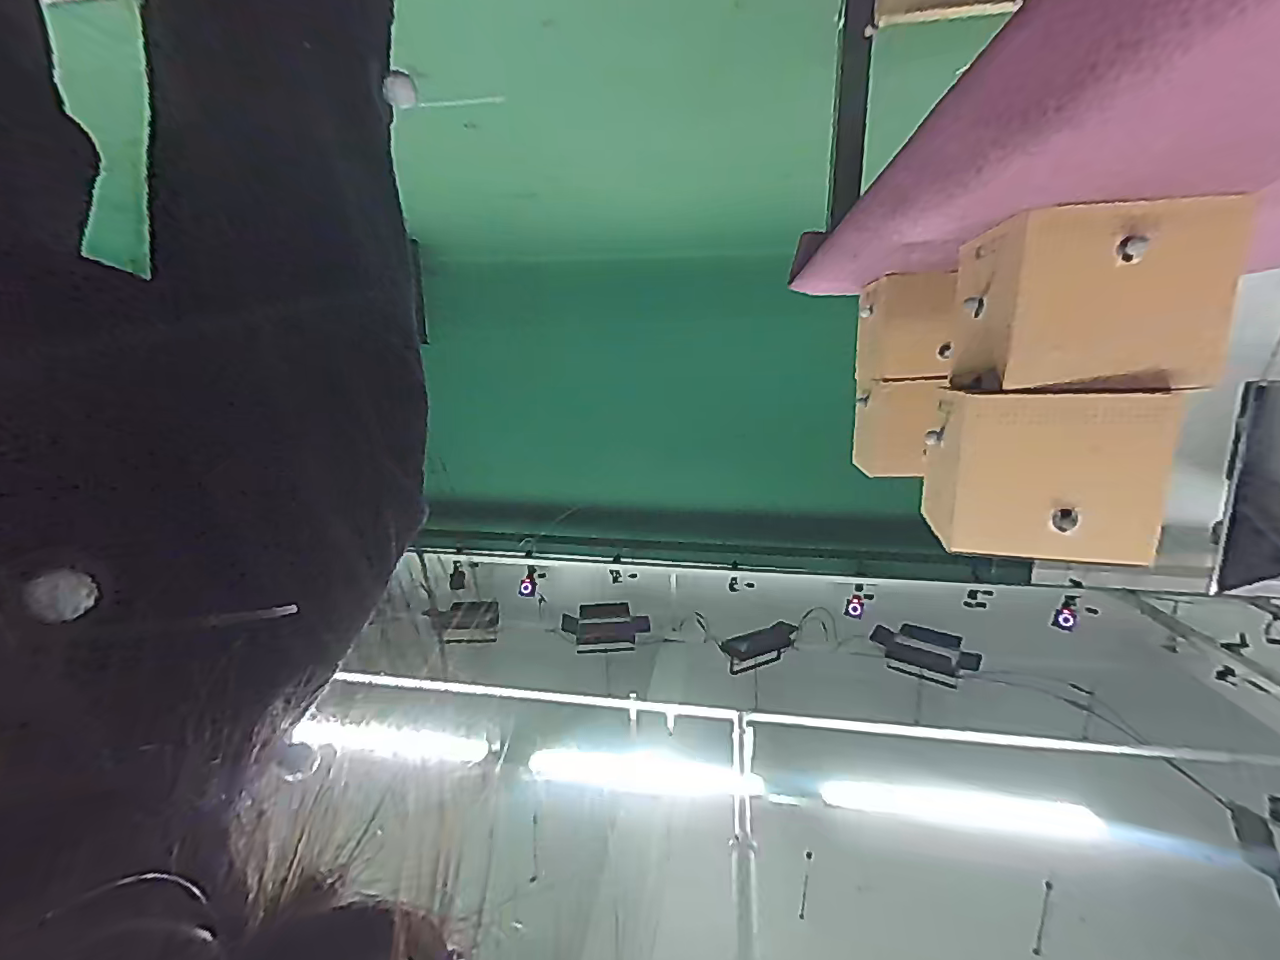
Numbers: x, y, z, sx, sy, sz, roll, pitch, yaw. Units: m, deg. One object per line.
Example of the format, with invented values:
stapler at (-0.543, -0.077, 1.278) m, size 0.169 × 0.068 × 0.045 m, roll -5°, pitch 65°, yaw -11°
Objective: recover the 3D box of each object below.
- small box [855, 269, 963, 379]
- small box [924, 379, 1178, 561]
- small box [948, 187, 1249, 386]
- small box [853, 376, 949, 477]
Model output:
small box at (0.486, -0.265, 0.934) m, size 0.179 × 0.176 × 0.168 m, roll 0°, pitch -169°, yaw 8°
small box at (0.429, -0.024, 0.593) m, size 0.179 × 0.176 × 0.168 m, roll 3°, pitch -168°, yaw 17°
small box at (0.451, -0.186, 0.562) m, size 0.179 × 0.176 × 0.168 m, roll 1°, pitch -167°, yaw 11°
small box at (0.490, -0.105, 0.961) m, size 0.179 × 0.176 × 0.168 m, roll 1°, pitch -169°, yaw 10°
